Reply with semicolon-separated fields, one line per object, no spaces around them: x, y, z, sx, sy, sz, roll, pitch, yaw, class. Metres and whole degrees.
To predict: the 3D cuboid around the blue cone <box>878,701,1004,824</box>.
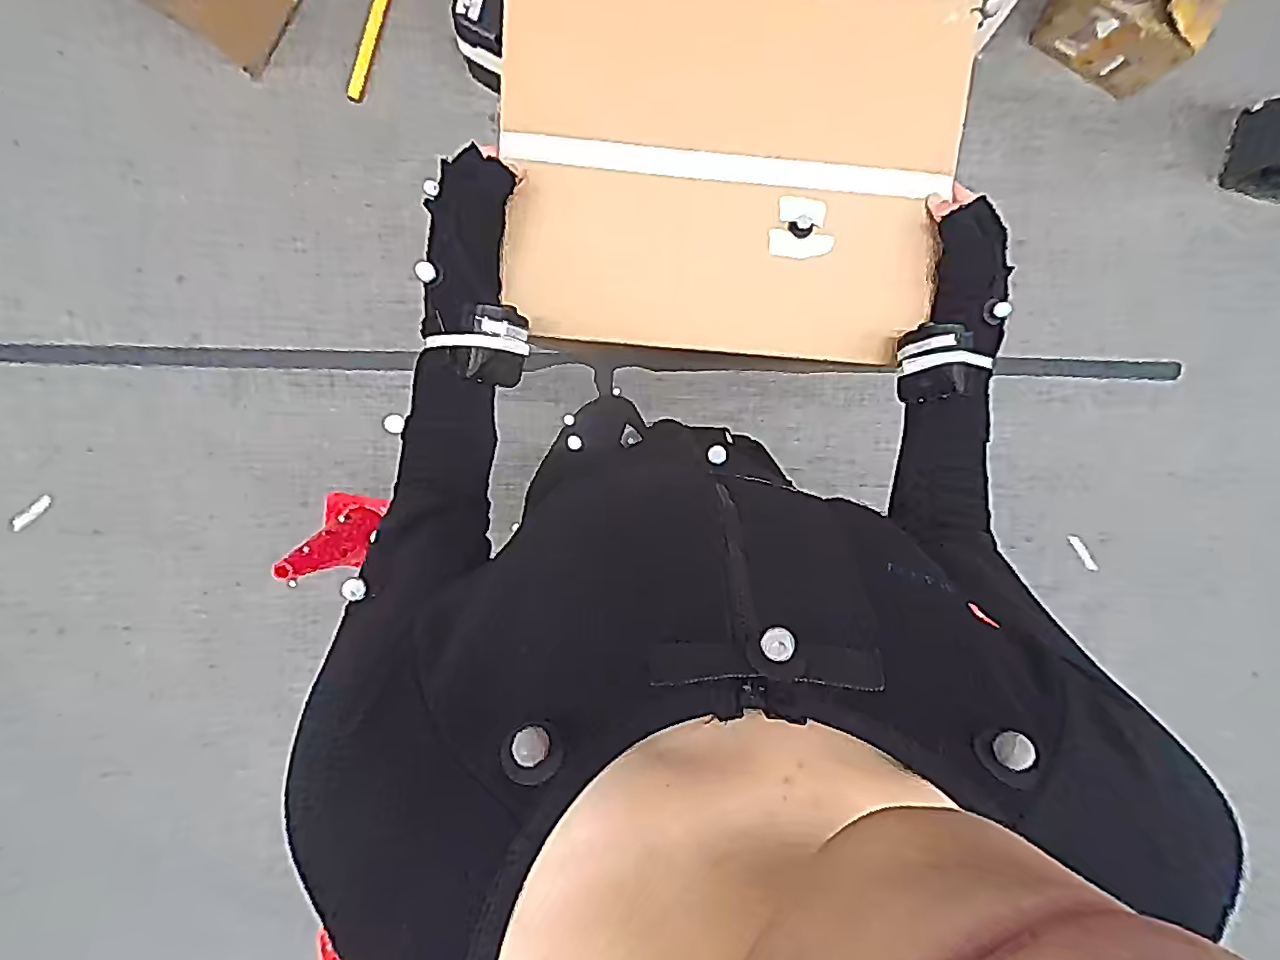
0.815;0.768;1.446;0.192;0.380;0.193;4;97;-4;blue cone

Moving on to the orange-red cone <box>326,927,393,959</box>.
-0.837;1.457;1.454;0.198;0.360;0.199;-1;99;-1;orange-red cone

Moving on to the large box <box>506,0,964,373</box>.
0.072;-0.298;0.635;0.408;0.320;0.320;4;100;-4;large box

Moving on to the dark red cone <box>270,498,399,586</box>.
-0.736;0.173;1.273;0.201;0.394;0.202;7;97;-4;dark red cone
